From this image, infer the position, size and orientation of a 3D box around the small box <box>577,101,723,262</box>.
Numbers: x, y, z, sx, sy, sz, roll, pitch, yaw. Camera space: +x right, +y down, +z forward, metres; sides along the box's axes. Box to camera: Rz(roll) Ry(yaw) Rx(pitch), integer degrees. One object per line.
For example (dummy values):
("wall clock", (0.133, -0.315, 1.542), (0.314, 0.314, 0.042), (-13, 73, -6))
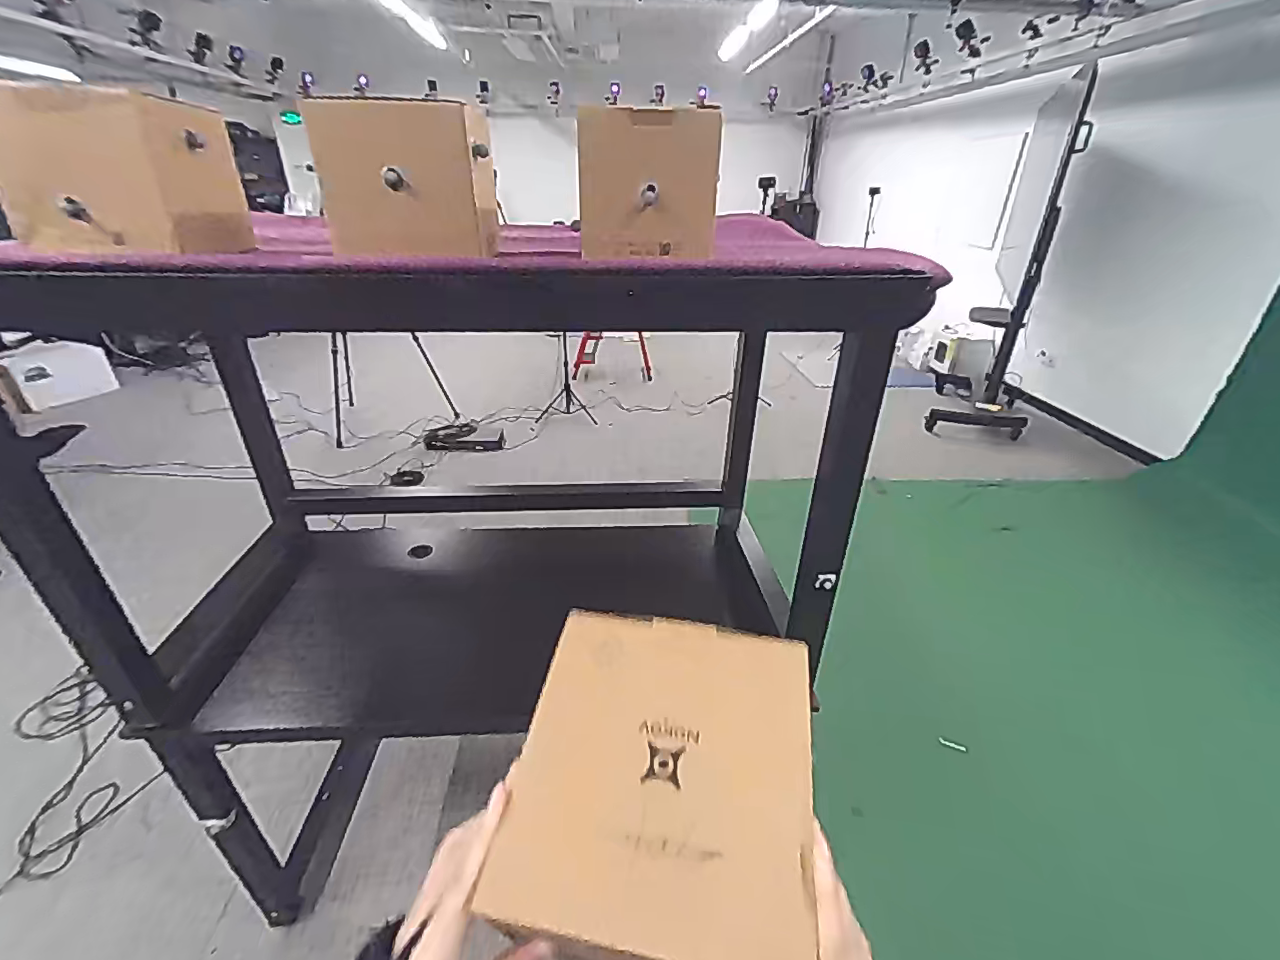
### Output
("small box", (0.010, -0.384, 0.705), (0.168, 0.176, 0.179), (0, 30, -3))

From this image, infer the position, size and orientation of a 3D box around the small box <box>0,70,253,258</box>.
("small box", (-0.604, -0.368, 0.649), (0.168, 0.176, 0.179), (-2, 28, -7))
